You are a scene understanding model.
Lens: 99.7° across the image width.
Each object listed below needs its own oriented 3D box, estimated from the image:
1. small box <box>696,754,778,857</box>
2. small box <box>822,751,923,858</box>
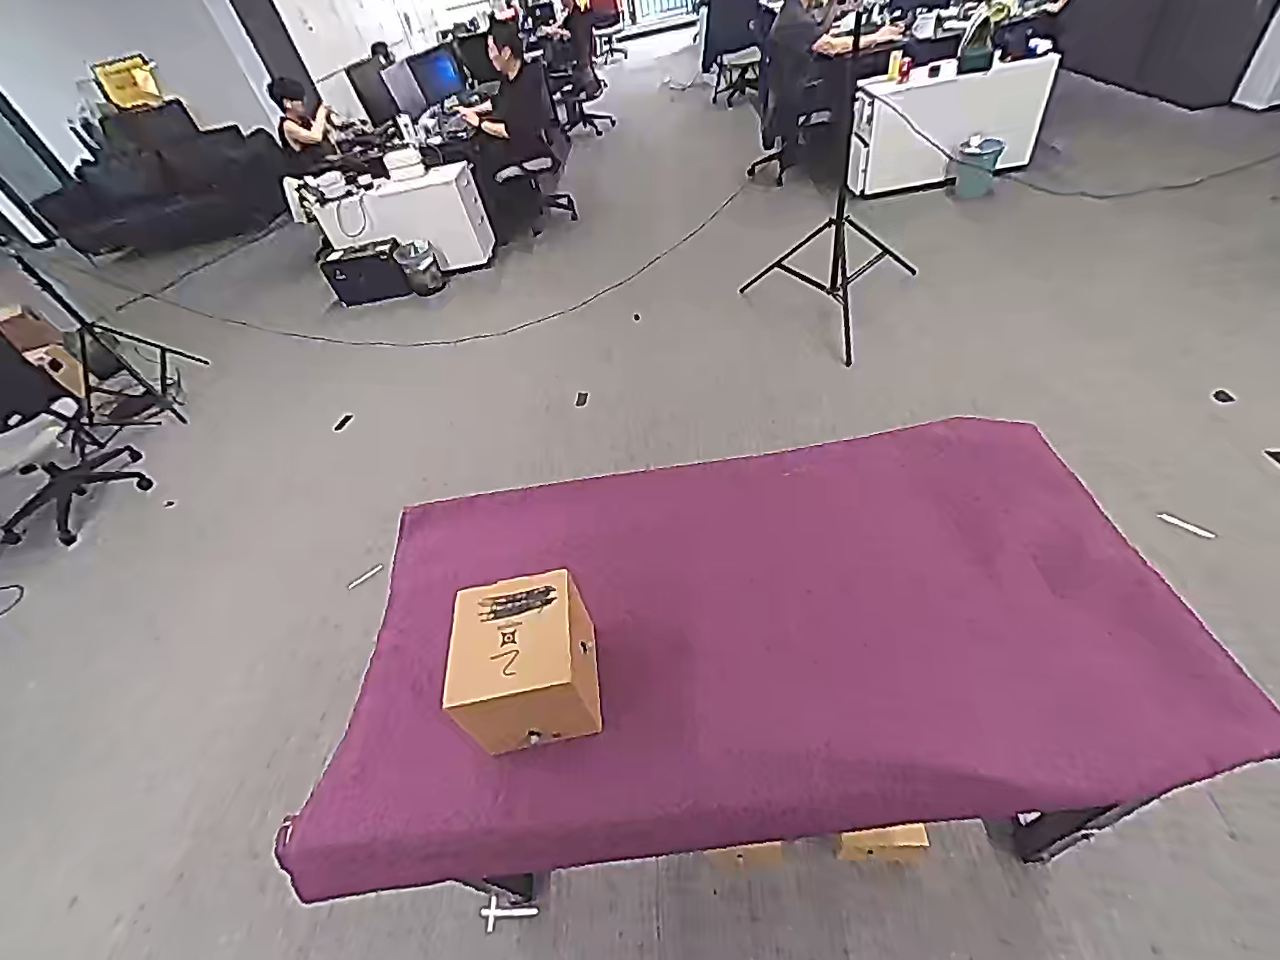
[{"bbox_3d":[0.222,0.751,1.241,0.168,0.176,0.179,-7,45,7],"label":"small box"},{"bbox_3d":[0.507,0.723,1.202,0.168,0.176,0.179,-5,45,9],"label":"small box"}]
